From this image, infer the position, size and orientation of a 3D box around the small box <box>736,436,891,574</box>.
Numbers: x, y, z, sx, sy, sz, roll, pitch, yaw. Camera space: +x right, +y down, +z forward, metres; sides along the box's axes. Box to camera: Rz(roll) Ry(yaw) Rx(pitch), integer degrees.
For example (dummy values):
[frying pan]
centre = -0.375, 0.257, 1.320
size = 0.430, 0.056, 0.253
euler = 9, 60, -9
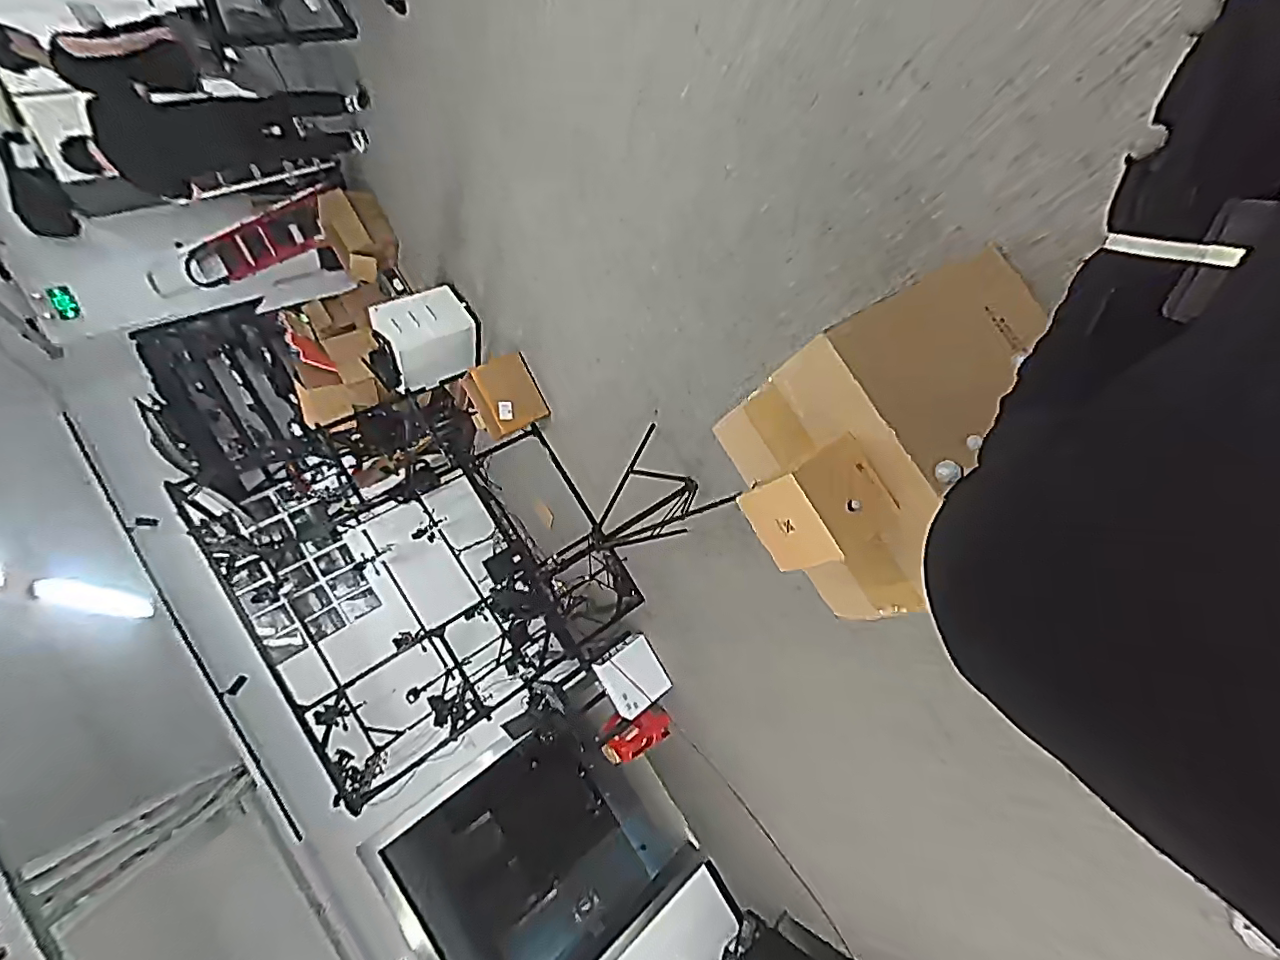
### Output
[small box]
centre = 0.312, 0.045, 0.962
size = 0.168, 0.176, 0.179
euler = 58, 153, 3
